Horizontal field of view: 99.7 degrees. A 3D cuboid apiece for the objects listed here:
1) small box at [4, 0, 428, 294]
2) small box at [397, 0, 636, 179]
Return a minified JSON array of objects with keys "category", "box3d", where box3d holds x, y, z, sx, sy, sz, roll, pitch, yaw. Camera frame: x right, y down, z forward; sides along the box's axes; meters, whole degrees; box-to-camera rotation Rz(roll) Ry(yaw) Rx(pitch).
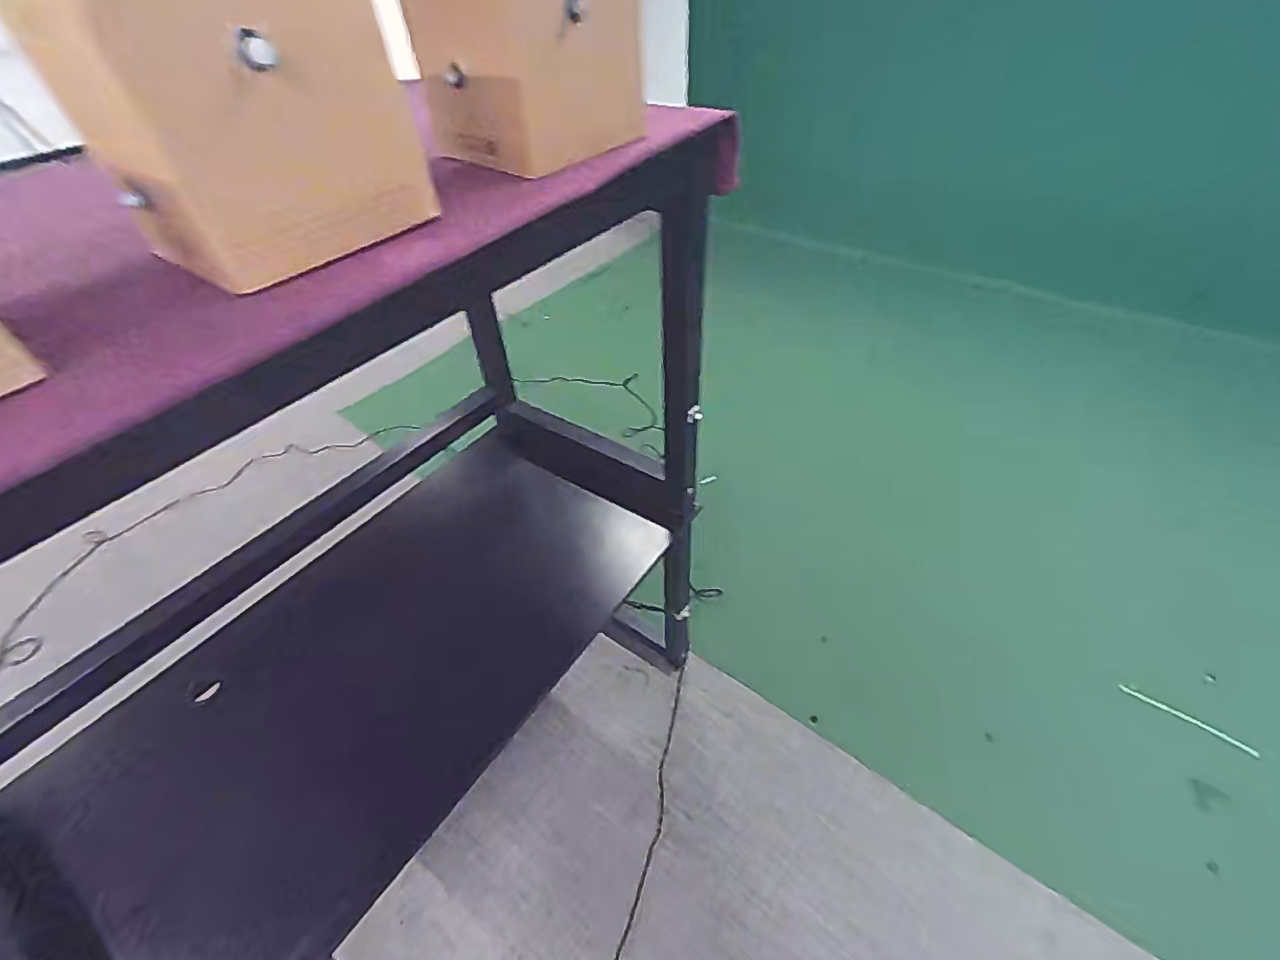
[{"category":"small box","box3d":[-0.290,-0.269,0.413,0.168,0.176,0.179,25,53,28]},{"category":"small box","box3d":[-0.115,-0.437,0.567,0.168,0.176,0.179,30,55,28]}]
